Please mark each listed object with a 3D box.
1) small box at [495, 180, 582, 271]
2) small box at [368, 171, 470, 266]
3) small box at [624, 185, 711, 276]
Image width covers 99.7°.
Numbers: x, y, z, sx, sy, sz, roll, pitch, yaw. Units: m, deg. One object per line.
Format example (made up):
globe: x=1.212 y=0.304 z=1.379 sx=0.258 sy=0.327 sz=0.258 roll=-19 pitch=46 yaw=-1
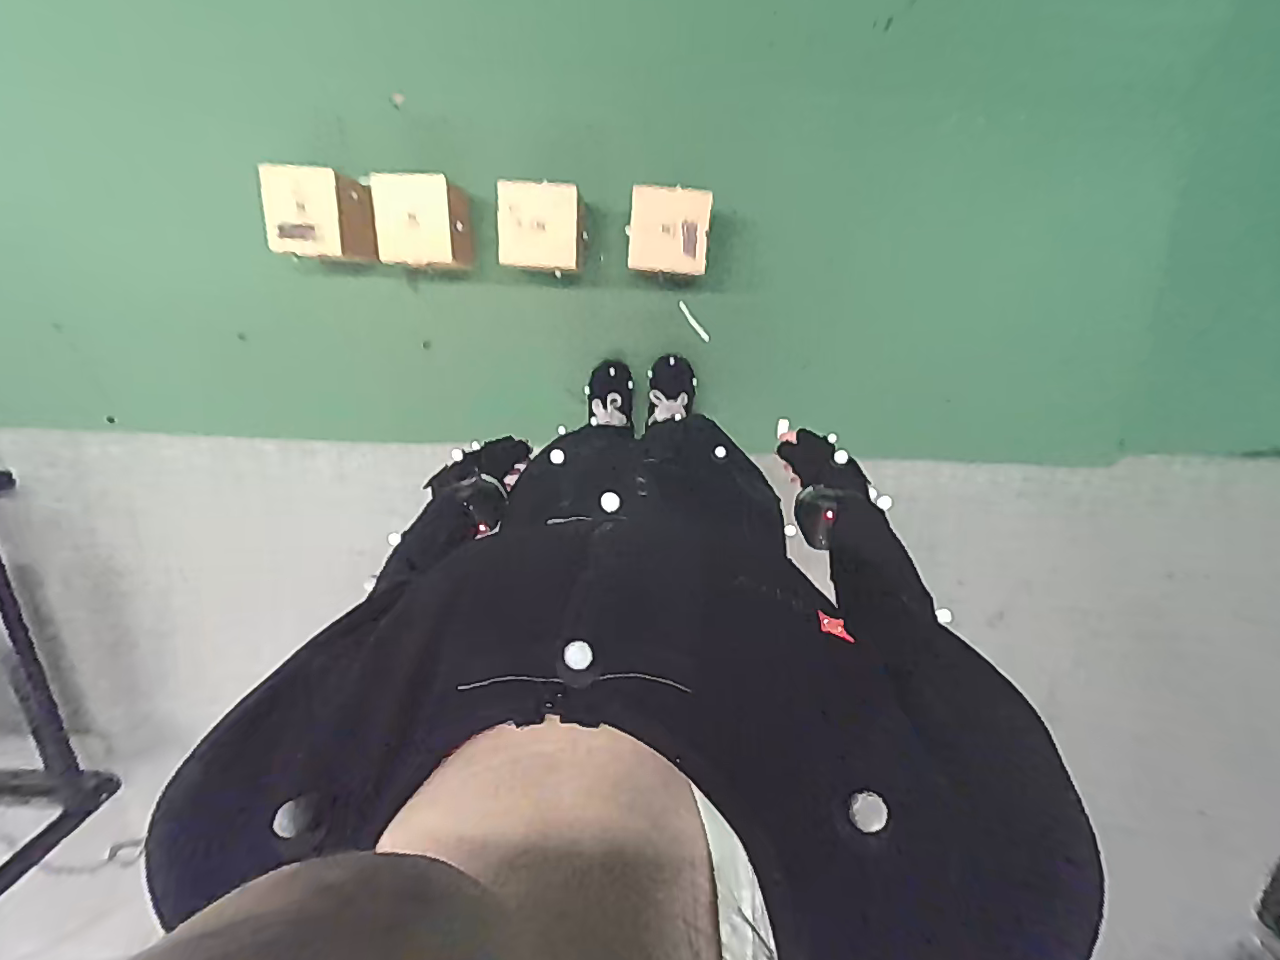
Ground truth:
small box: x=-0.229 y=-0.583 z=1.255 sx=0.179 sy=0.176 sz=0.168 roll=4 pitch=107 yaw=-1
small box: x=-0.504 y=-0.599 z=1.256 sx=0.168 sy=0.176 sz=0.179 roll=1 pitch=108 yaw=0
small box: x=0.060 y=-0.571 z=1.255 sx=0.179 sy=0.176 sz=0.168 roll=5 pitch=107 yaw=0
